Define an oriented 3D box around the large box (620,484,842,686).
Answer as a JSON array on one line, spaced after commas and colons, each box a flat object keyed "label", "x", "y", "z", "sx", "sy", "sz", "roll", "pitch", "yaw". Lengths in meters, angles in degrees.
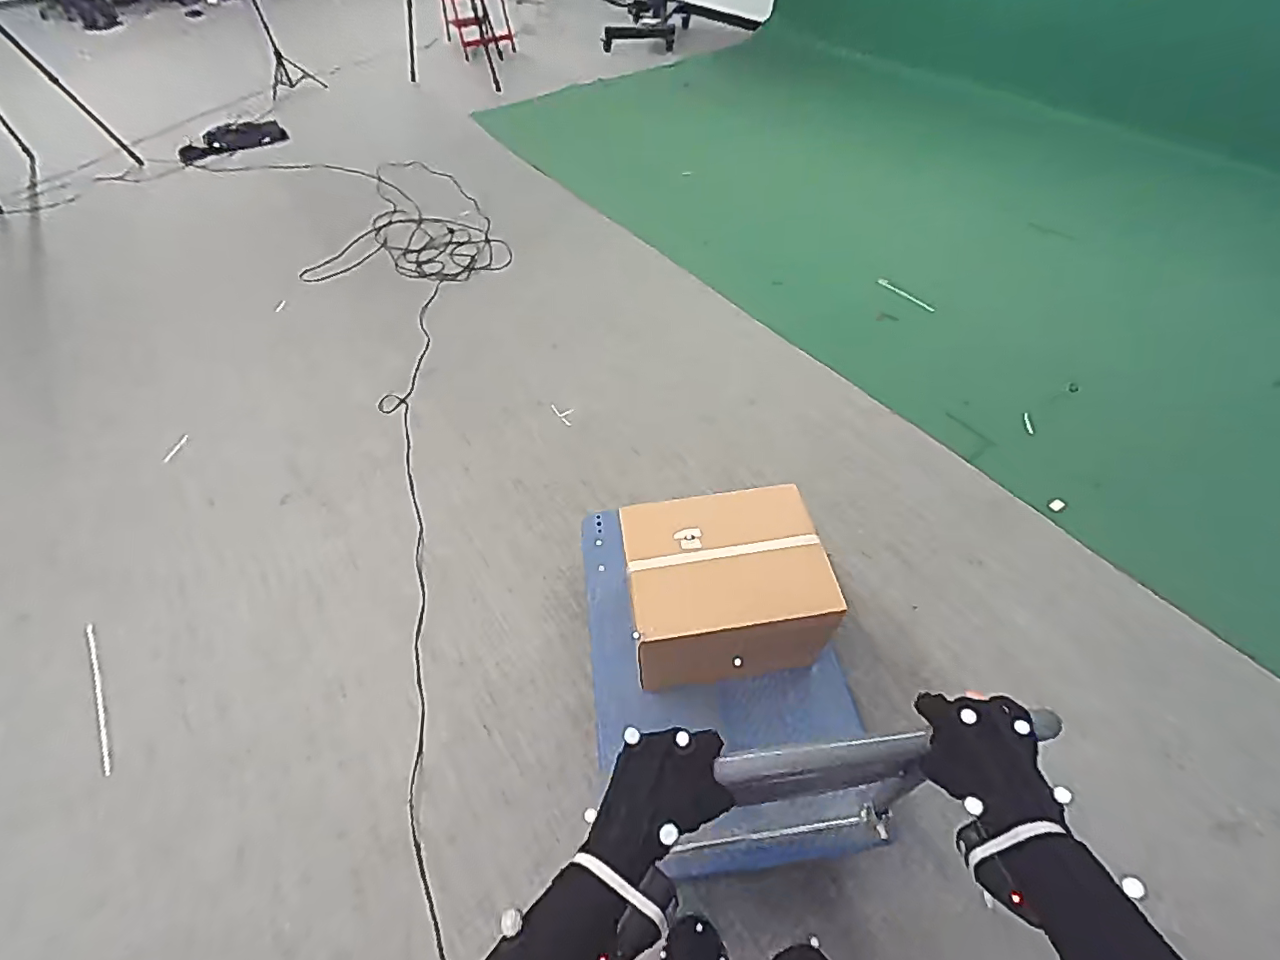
[{"label": "large box", "x": 0.182, "y": 0.246, "z": 1.239, "sx": 0.408, "sy": 0.320, "sz": 0.320, "roll": -8, "pitch": 52, "yaw": -3}]
